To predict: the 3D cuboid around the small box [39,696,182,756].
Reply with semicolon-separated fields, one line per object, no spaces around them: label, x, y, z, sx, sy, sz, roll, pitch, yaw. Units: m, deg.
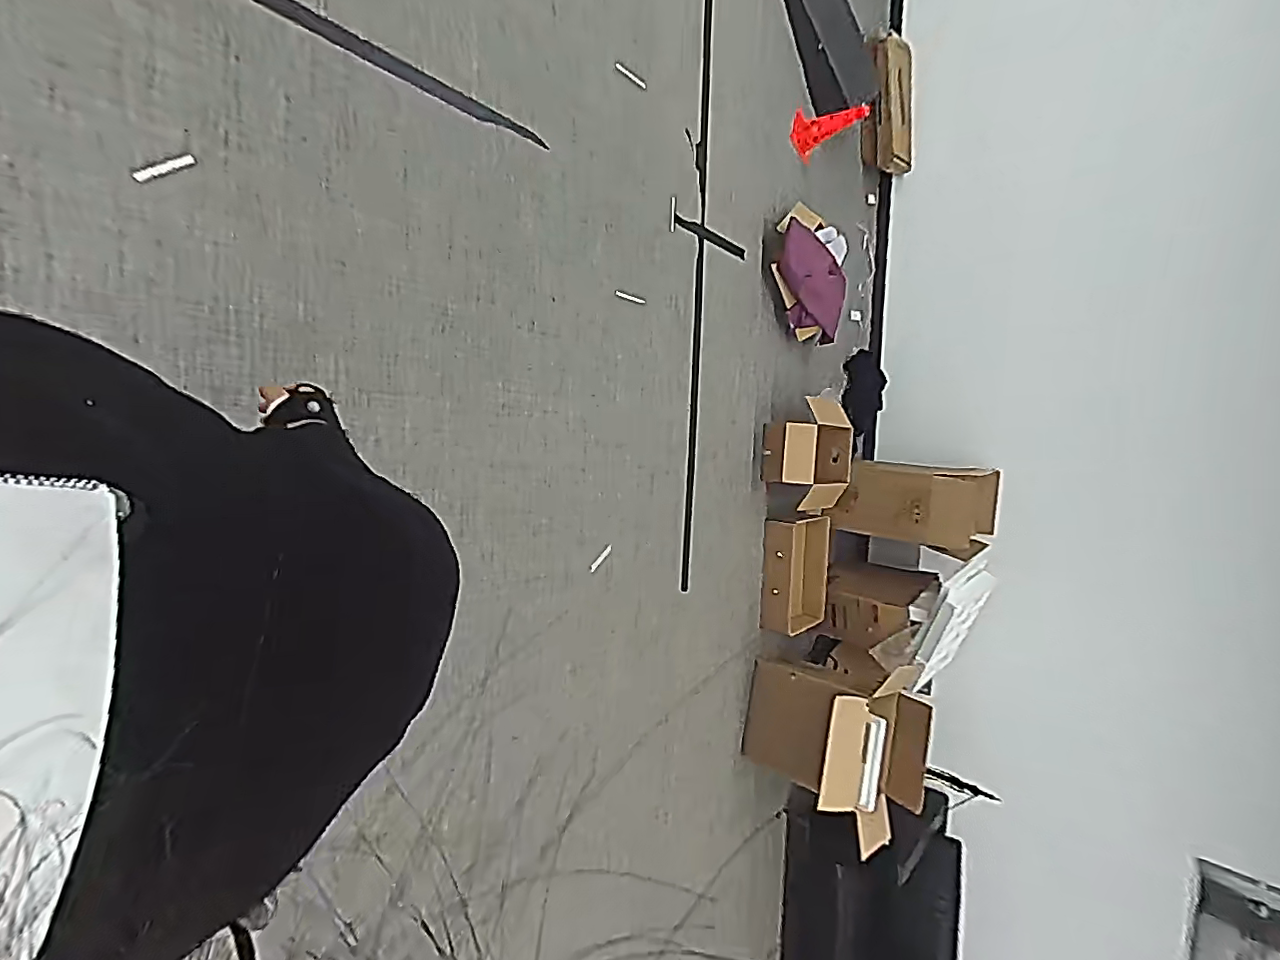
small box;-0.897;0.462;0.926;0.168;0.176;0.179;-4;97;-46
